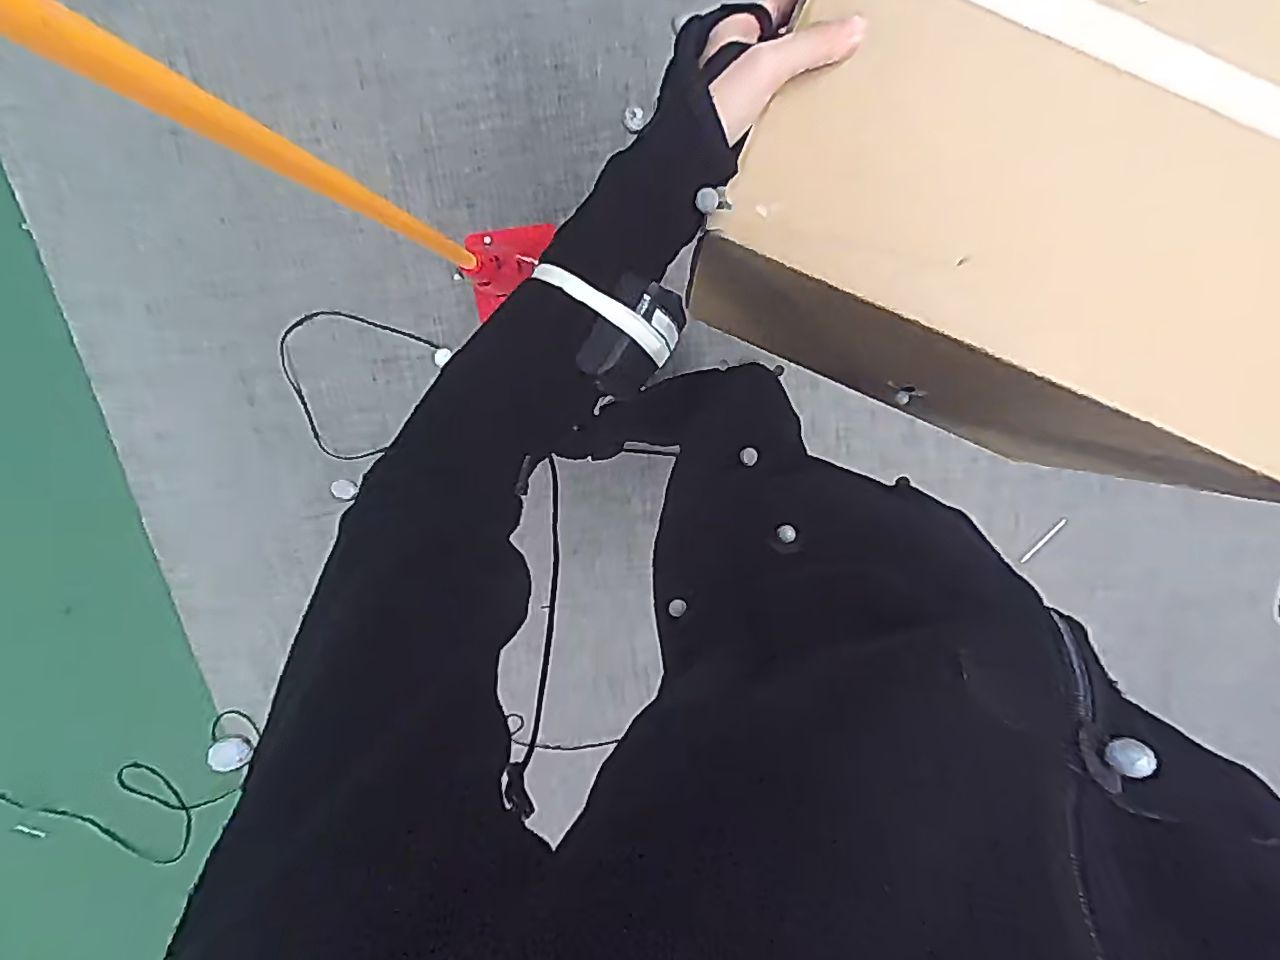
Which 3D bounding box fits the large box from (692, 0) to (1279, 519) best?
[{"bbox_3d":[0.286,-0.208,0.441,0.408,0.320,0.320,24,99,0],"label":"large box"}]
